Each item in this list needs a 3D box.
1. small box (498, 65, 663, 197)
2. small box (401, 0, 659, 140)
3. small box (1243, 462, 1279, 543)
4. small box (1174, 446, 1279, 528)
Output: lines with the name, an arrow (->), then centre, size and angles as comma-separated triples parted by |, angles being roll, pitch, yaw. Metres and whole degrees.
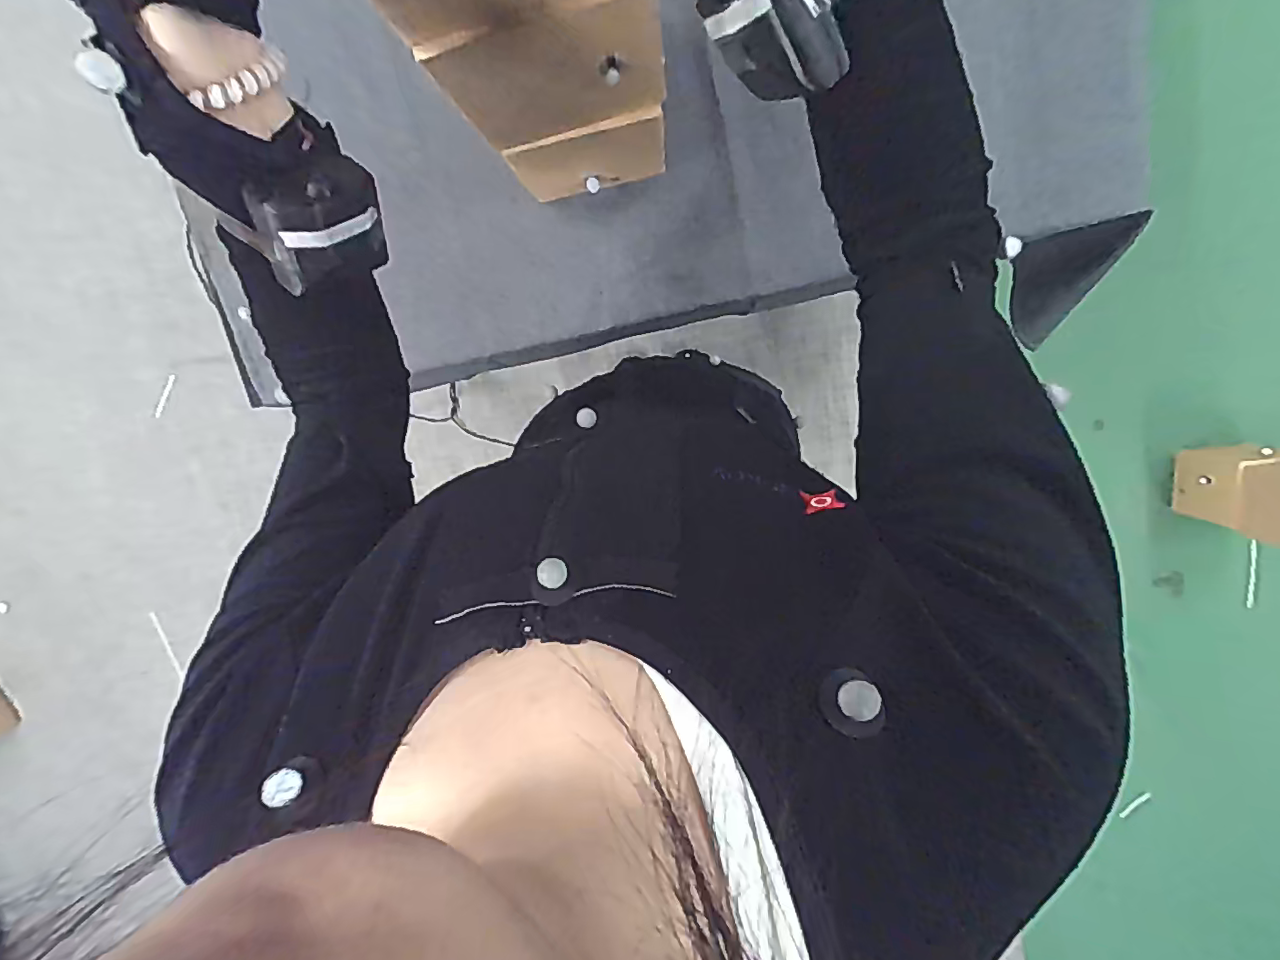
small box -> -0.069, -0.438, 0.586 | 0.168, 0.176, 0.179 | -10, 102, 6
small box -> -0.085, -0.407, 0.427 | 0.179, 0.176, 0.168 | -12, 100, 6
small box -> 1.480, 0.053, 1.170 | 0.168, 0.176, 0.179 | -7, 102, 5
small box -> 1.478, 0.013, 1.329 | 0.179, 0.176, 0.168 | -6, 101, 4
